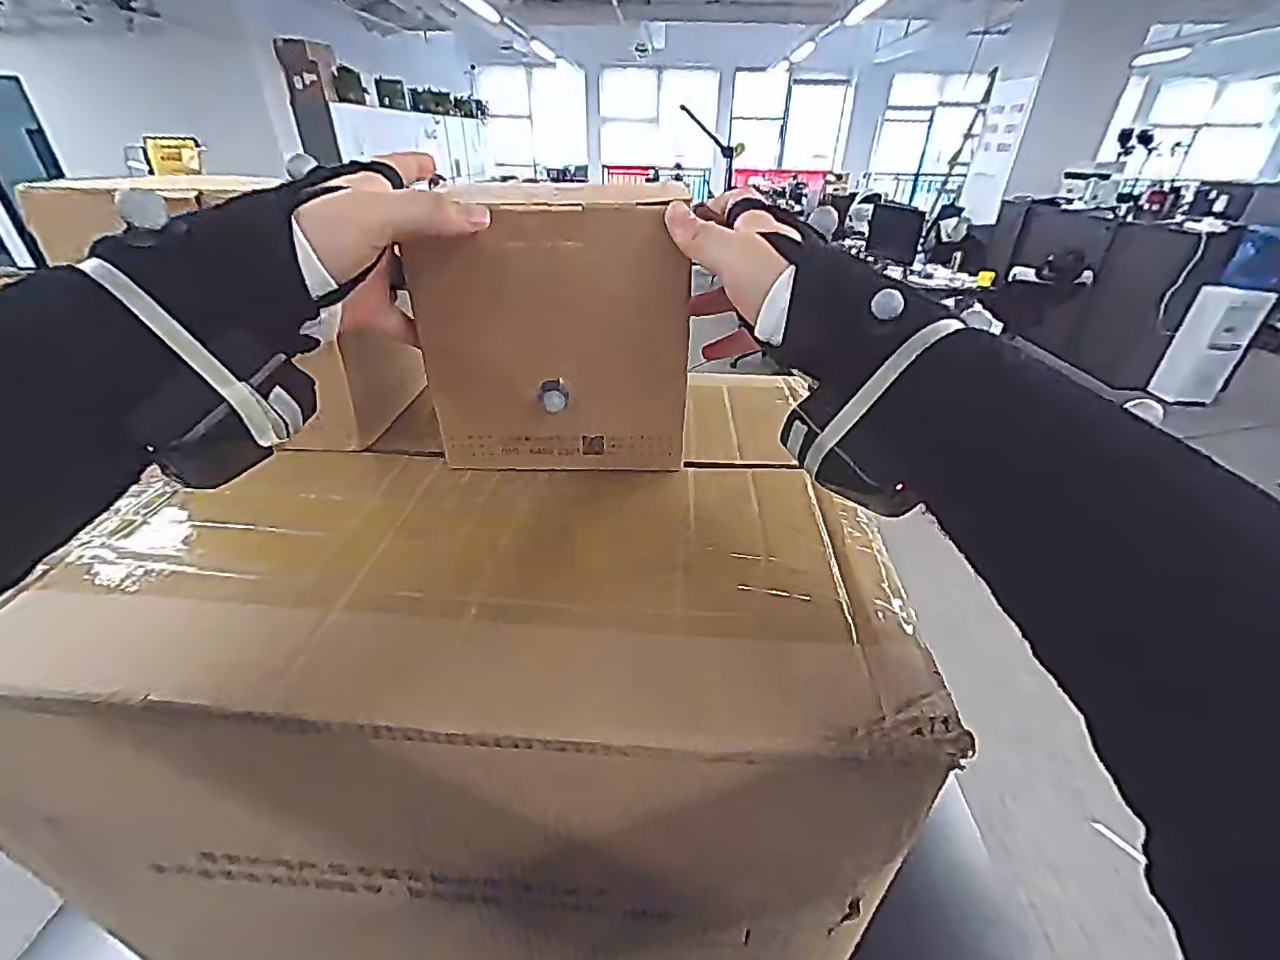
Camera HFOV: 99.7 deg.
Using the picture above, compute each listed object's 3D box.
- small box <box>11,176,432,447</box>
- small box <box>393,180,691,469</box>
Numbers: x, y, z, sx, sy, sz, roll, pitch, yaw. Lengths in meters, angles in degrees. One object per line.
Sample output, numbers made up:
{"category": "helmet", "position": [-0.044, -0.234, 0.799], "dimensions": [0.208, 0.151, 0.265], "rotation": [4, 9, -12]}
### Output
{"category": "small box", "position": [-0.277, -0.134, 0.418], "dimensions": [0.168, 0.176, 0.179], "rotation": [1, 31, -1]}
{"category": "small box", "position": [-0.051, -0.123, 0.401], "dimensions": [0.168, 0.176, 0.179], "rotation": [-1, 32, 2]}
